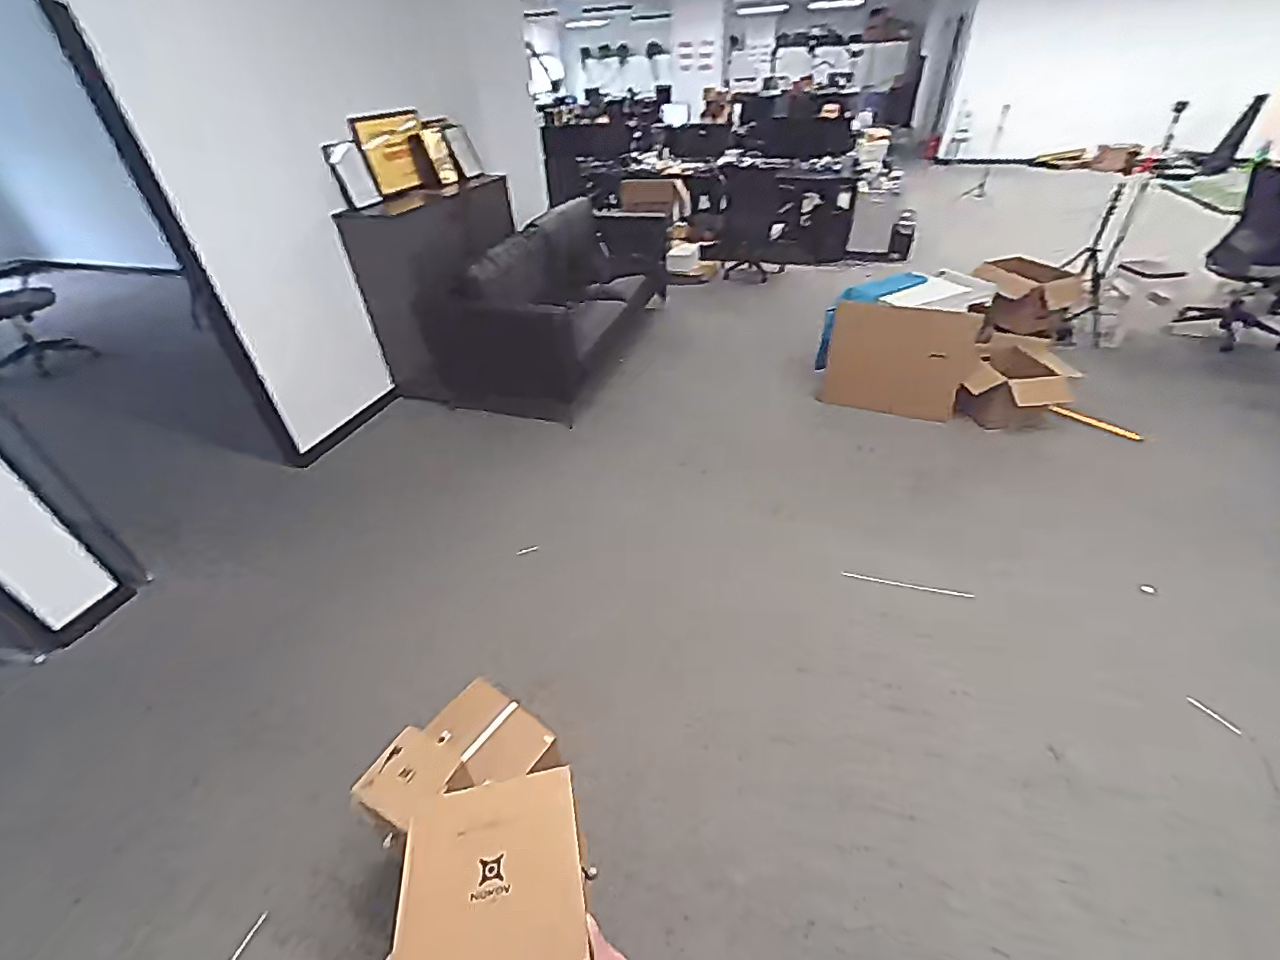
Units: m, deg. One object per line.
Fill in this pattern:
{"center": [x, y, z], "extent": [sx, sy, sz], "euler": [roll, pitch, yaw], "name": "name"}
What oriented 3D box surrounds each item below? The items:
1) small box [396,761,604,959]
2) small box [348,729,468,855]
{"center": [-0.129, 0.427, 0.545], "extent": [0.168, 0.176, 0.179], "euler": [-8, 33, -9], "name": "small box"}
{"center": [-0.499, 0.703, 1.204], "extent": [0.179, 0.176, 0.168], "euler": [17, 41, 22], "name": "small box"}
